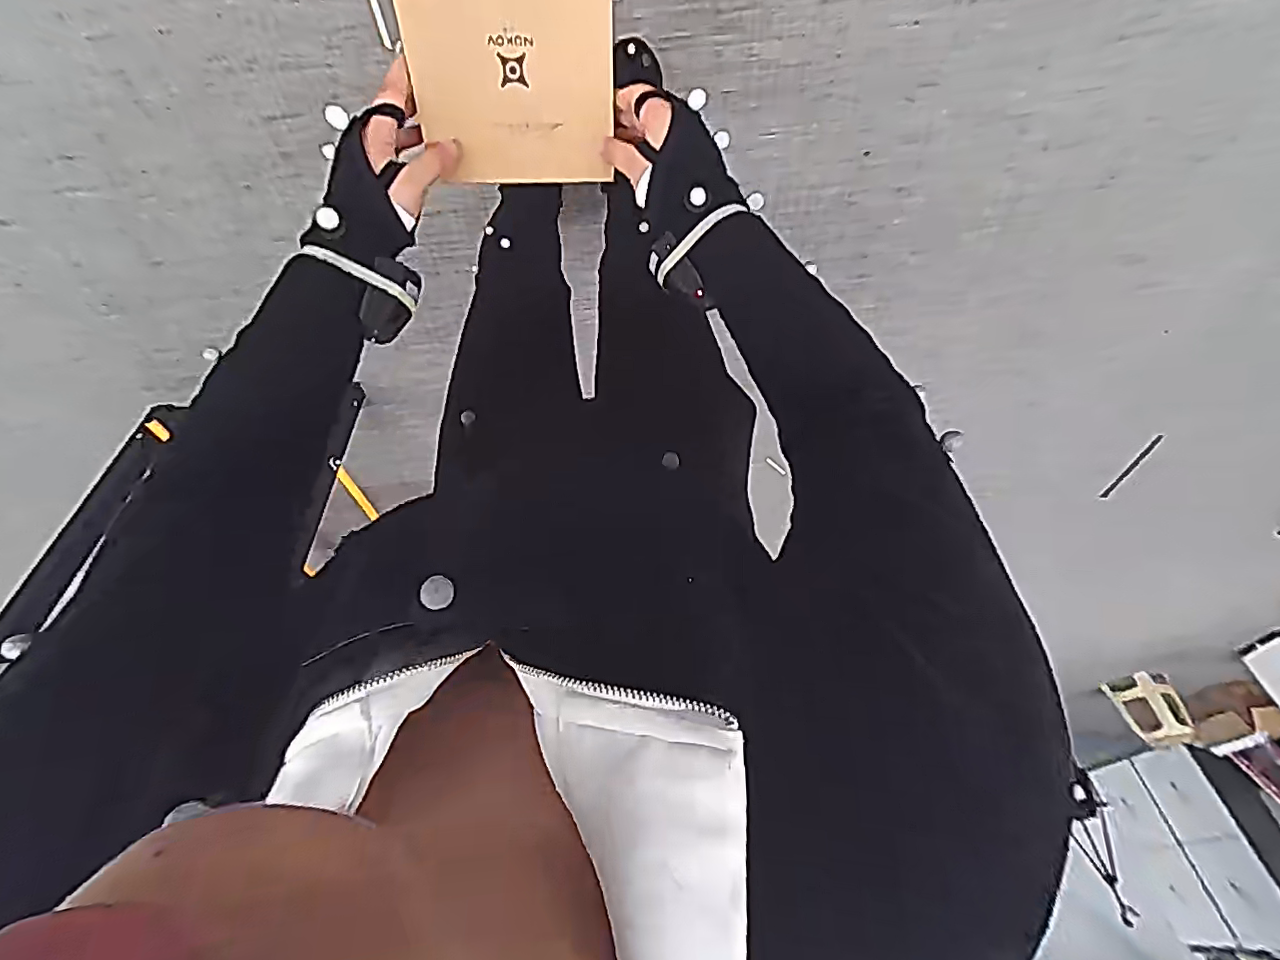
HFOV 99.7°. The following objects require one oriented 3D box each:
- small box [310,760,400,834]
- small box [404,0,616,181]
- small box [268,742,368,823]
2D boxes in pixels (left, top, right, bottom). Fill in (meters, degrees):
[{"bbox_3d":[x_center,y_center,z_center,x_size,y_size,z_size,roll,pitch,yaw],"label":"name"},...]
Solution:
[{"bbox_3d":[-0.873,0.982,1.677,0.168,0.176,0.179,-7,139,1],"label":"small box"},{"bbox_3d":[-0.112,-0.401,0.505,0.168,0.176,0.179,-4,136,-6],"label":"small box"},{"bbox_3d":[-0.886,0.844,1.512,0.179,0.176,0.168,-5,140,-1],"label":"small box"}]
